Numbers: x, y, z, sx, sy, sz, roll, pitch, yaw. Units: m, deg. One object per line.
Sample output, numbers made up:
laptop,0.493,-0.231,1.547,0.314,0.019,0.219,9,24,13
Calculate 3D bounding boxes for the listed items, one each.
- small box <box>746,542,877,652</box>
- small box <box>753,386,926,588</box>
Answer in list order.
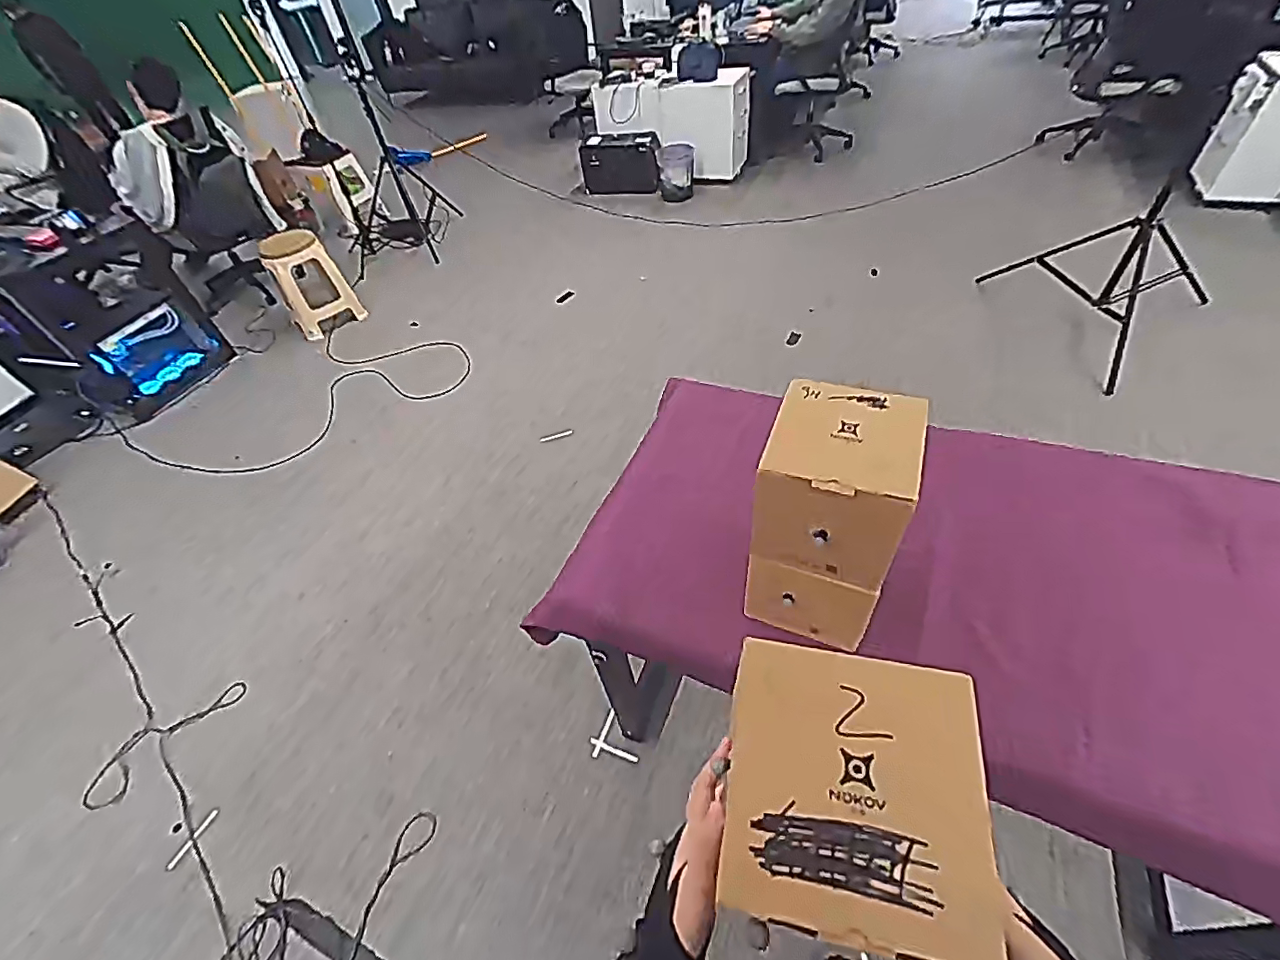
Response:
small box,0.262,0.125,0.803,0.168,0.176,0.179,15,51,21
small box,0.245,0.010,0.687,0.168,0.176,0.179,14,51,20
